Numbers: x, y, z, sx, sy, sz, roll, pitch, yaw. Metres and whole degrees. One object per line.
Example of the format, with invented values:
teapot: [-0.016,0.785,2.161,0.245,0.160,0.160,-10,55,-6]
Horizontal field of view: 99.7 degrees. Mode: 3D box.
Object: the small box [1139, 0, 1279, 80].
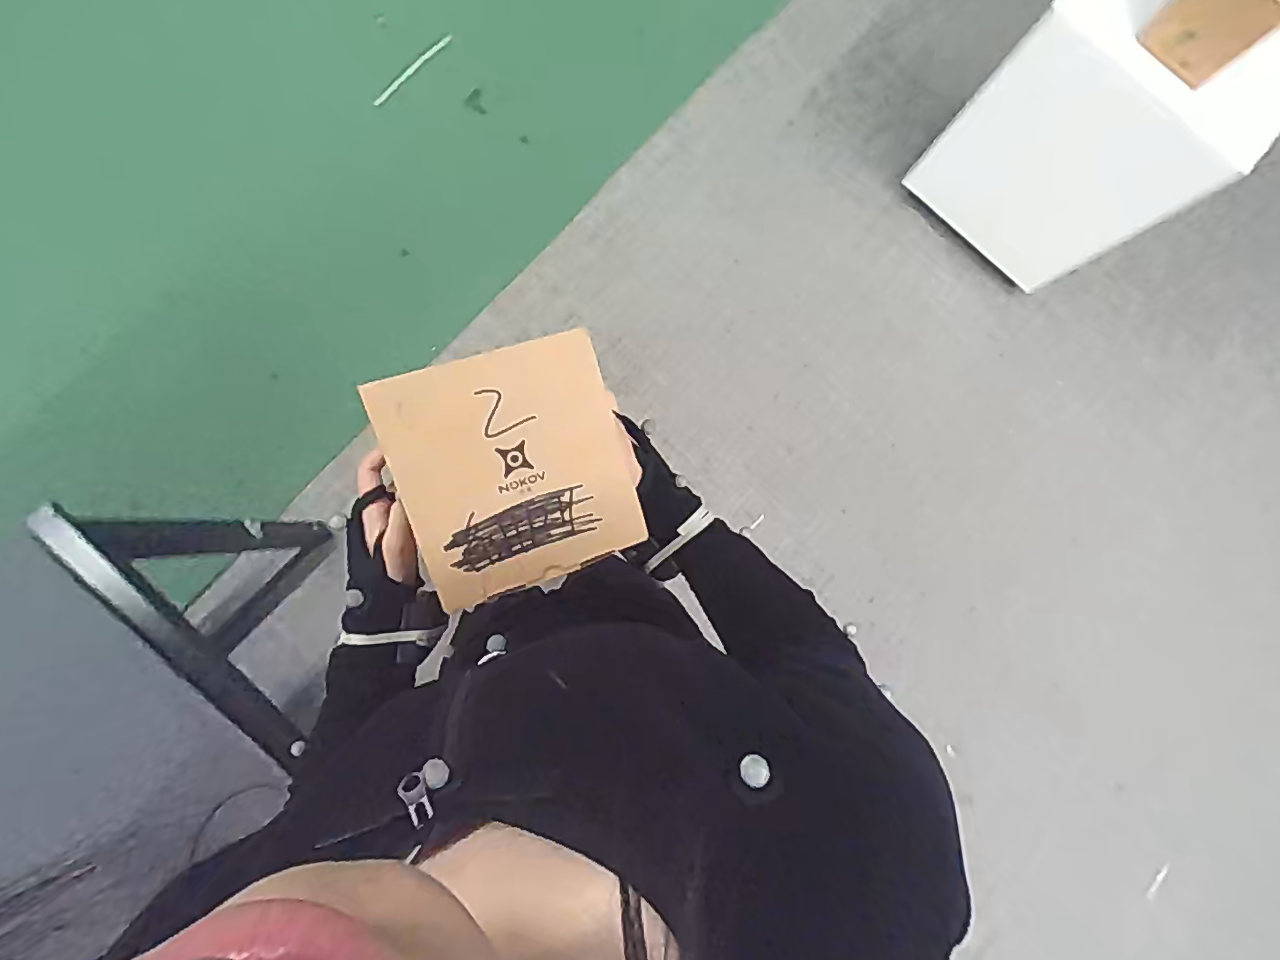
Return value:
small box: [1.102,-0.914,1.008,0.168,0.176,0.179,41,83,1]
